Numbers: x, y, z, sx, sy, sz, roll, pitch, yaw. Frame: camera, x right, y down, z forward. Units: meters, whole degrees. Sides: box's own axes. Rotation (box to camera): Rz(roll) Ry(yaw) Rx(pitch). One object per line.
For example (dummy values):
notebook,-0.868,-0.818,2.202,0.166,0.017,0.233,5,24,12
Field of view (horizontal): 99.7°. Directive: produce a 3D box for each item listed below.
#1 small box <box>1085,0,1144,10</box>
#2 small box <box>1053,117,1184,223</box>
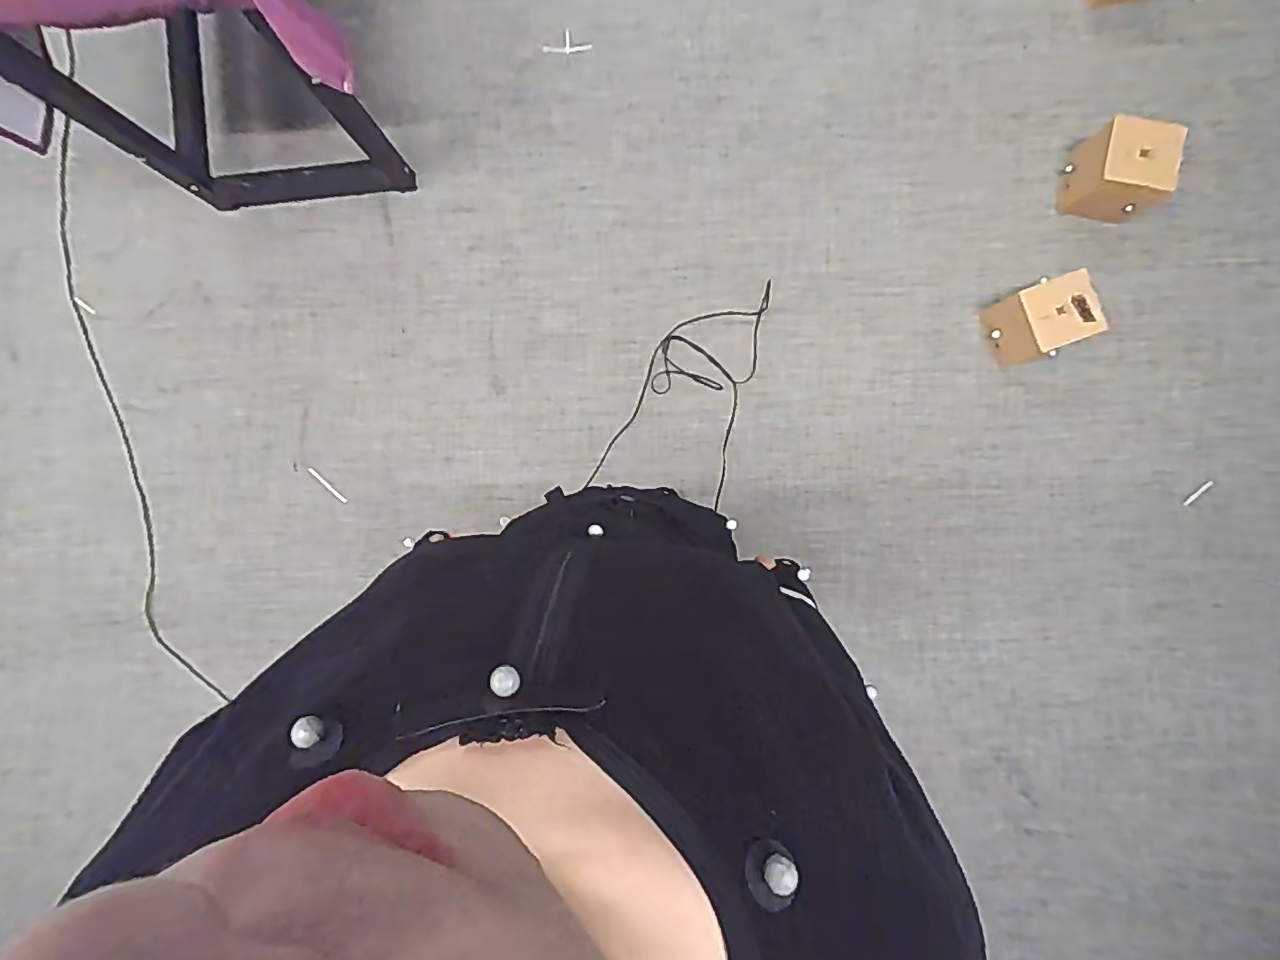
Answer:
small box,1.301,-1.394,1.415,0.168,0.176,0.179,-8,88,2
small box,1.239,-0.798,1.411,0.179,0.176,0.168,12,89,2
